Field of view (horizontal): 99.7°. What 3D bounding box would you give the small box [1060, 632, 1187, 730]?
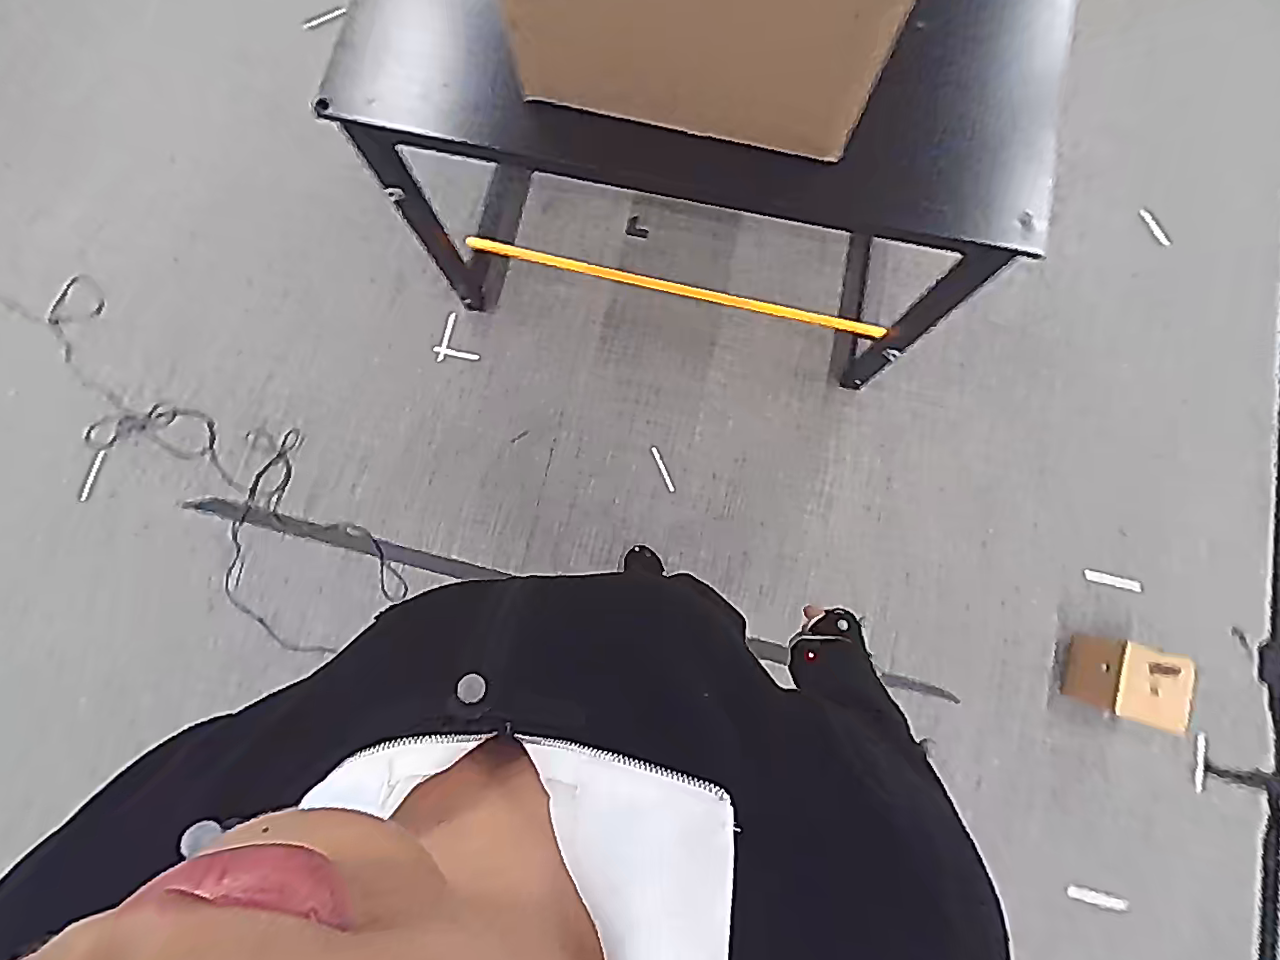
[{"bbox_3d":[1.216,0.499,1.372,0.168,0.176,0.179,16,82,3],"label":"small box"}]
